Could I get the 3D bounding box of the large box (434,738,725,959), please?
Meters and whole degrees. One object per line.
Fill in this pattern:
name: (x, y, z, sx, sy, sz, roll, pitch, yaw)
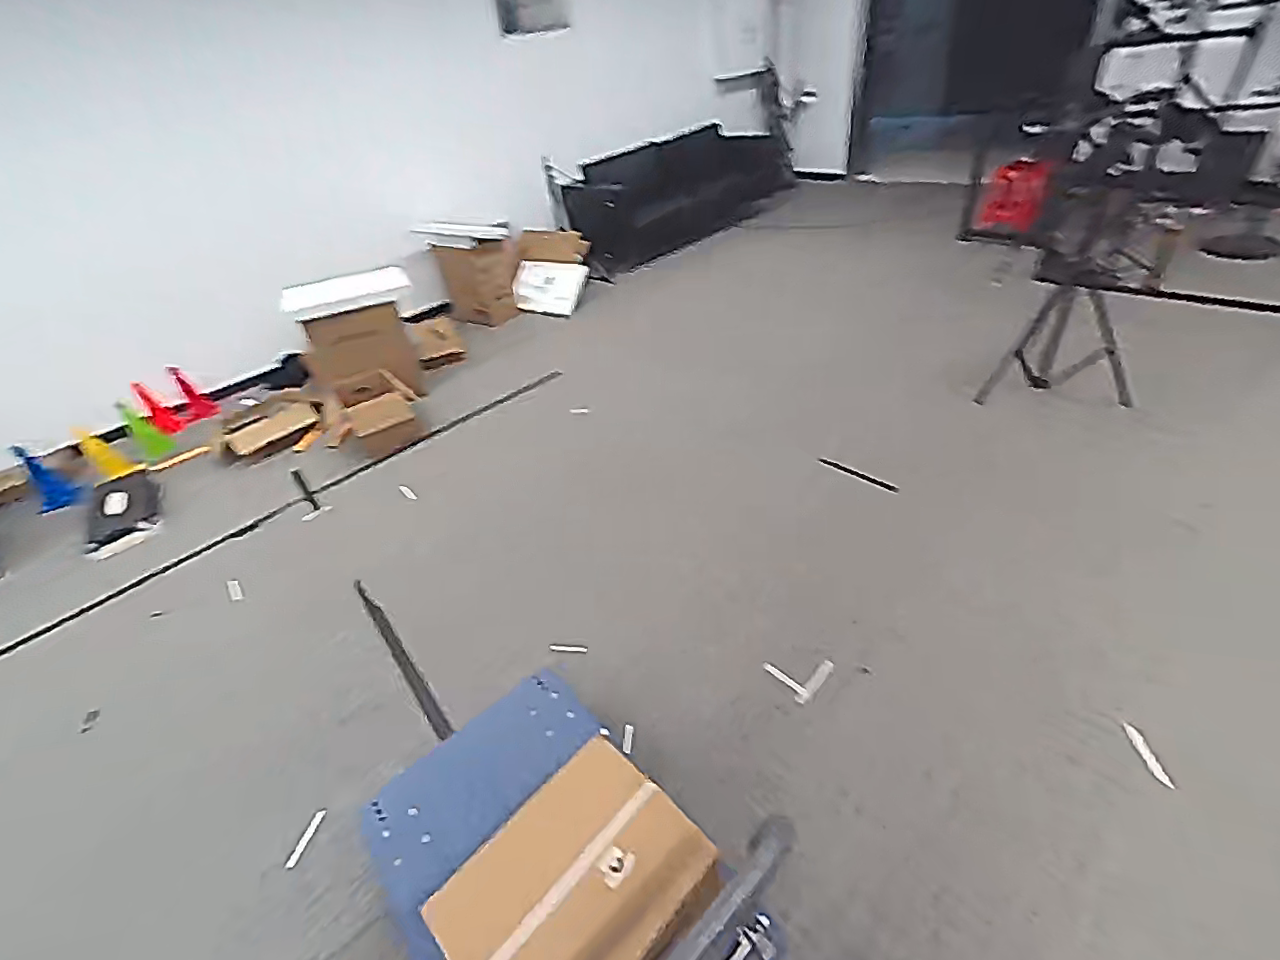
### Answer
large box: (-0.087, 0.797, 1.000, 0.408, 0.320, 0.320, -35, 44, -31)
